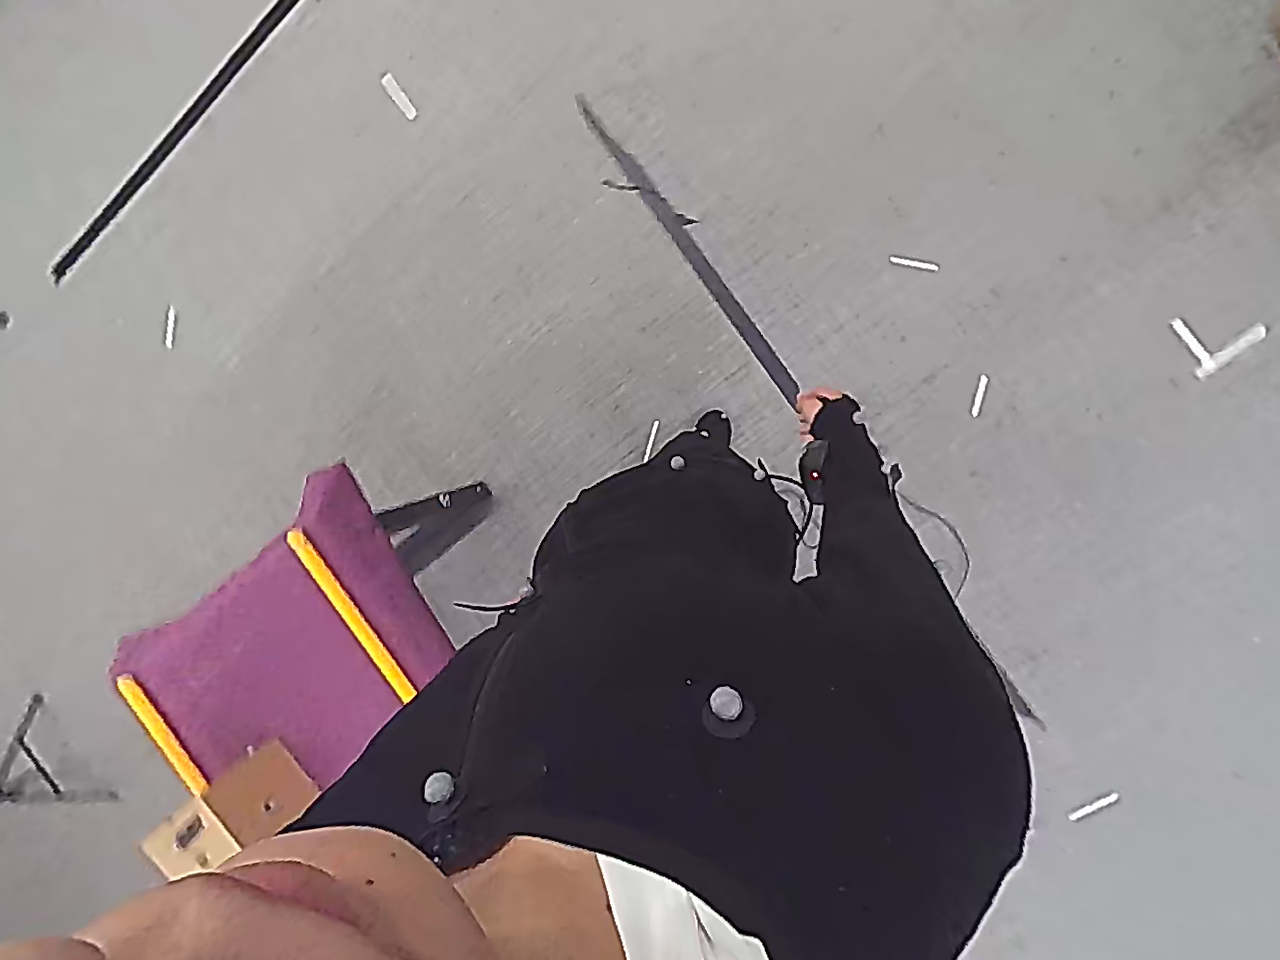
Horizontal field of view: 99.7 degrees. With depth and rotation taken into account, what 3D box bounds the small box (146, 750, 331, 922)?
[{"bbox_3d":[-0.723,0.634,0.991,0.168,0.176,0.179,-40,90,11],"label":"small box"}]
